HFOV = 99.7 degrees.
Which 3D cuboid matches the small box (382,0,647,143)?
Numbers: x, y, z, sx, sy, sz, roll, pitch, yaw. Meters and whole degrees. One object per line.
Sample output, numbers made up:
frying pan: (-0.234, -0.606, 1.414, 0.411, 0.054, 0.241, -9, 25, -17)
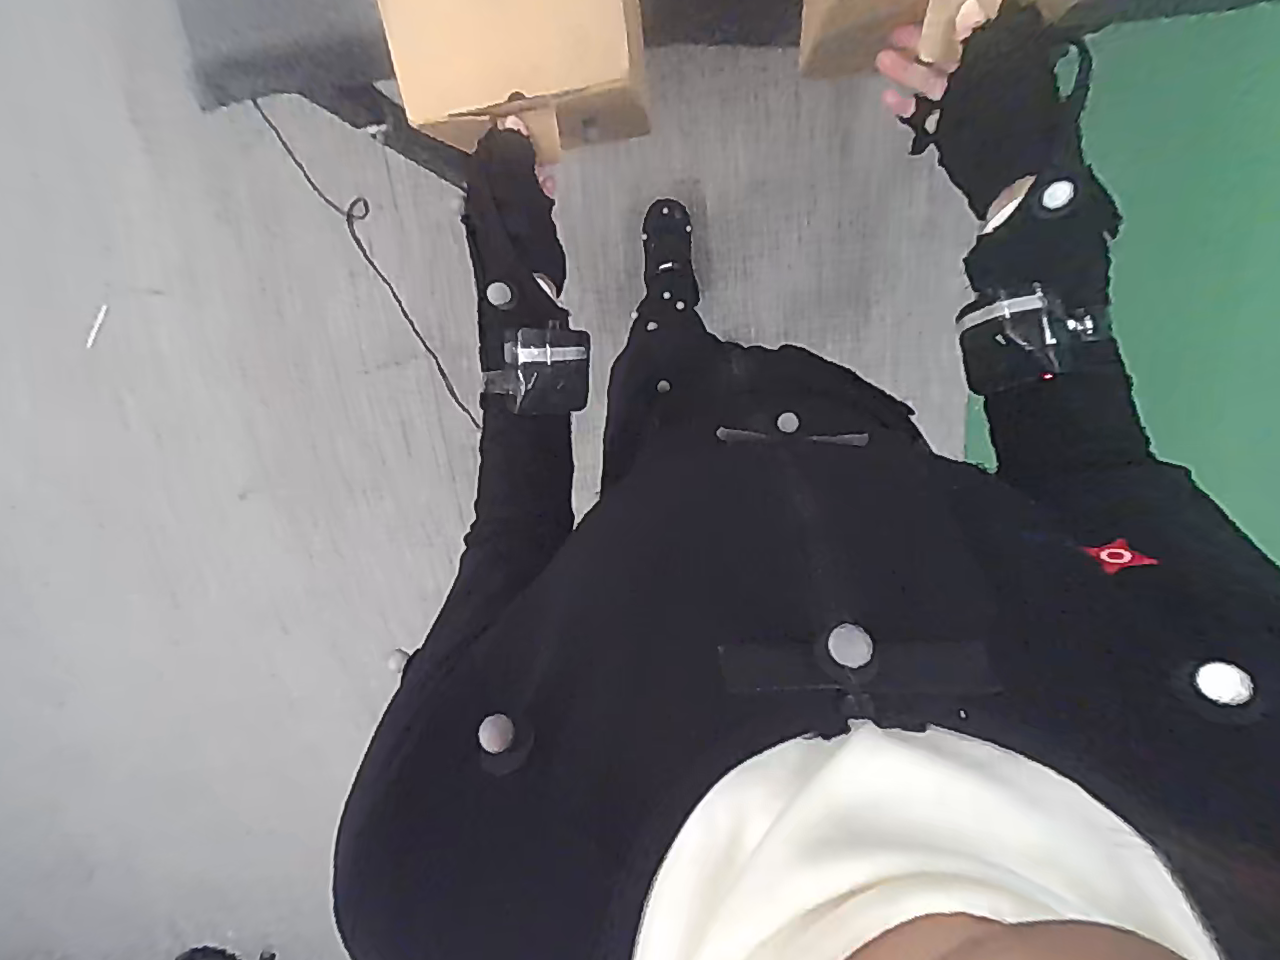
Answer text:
small box: (-0.091, -0.384, 0.426, 0.168, 0.176, 0.179, -5, 111, 9)
